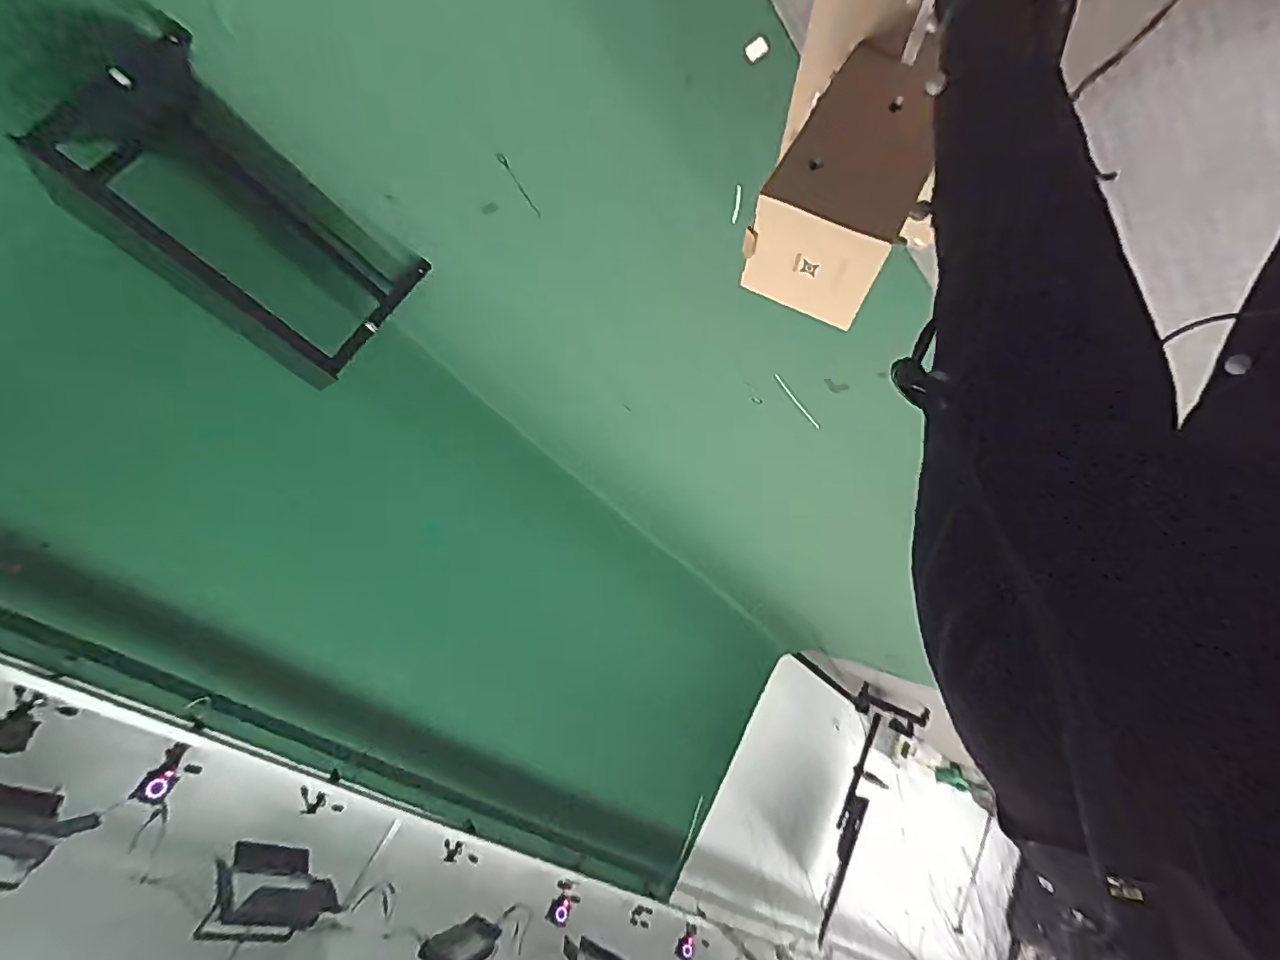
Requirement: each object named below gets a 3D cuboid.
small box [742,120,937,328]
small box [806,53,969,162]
[{"bbox_3d":[0.266,-0.352,0.745,0.179,0.176,0.168,28,161,11],"label":"small box"},{"bbox_3d":[0.342,-0.484,0.803,0.179,0.176,0.168,28,161,8],"label":"small box"}]
